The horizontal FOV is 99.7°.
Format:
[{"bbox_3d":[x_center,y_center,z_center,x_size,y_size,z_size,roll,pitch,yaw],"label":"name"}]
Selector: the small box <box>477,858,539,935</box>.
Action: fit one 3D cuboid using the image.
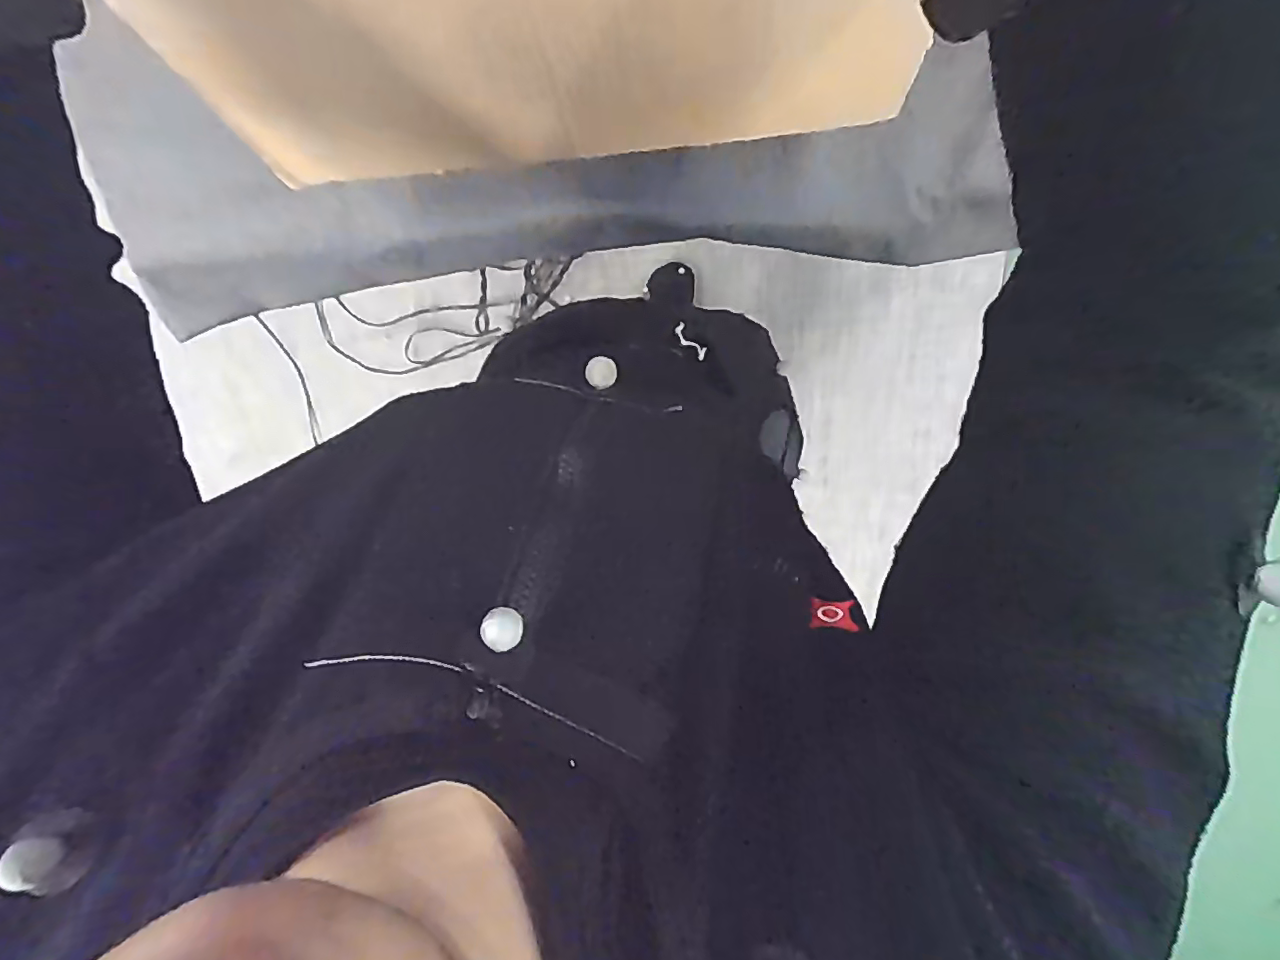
[{"bbox_3d":[-0.489,1.555,2.026,0.179,0.176,0.168,0,112,4],"label":"small box"}]
